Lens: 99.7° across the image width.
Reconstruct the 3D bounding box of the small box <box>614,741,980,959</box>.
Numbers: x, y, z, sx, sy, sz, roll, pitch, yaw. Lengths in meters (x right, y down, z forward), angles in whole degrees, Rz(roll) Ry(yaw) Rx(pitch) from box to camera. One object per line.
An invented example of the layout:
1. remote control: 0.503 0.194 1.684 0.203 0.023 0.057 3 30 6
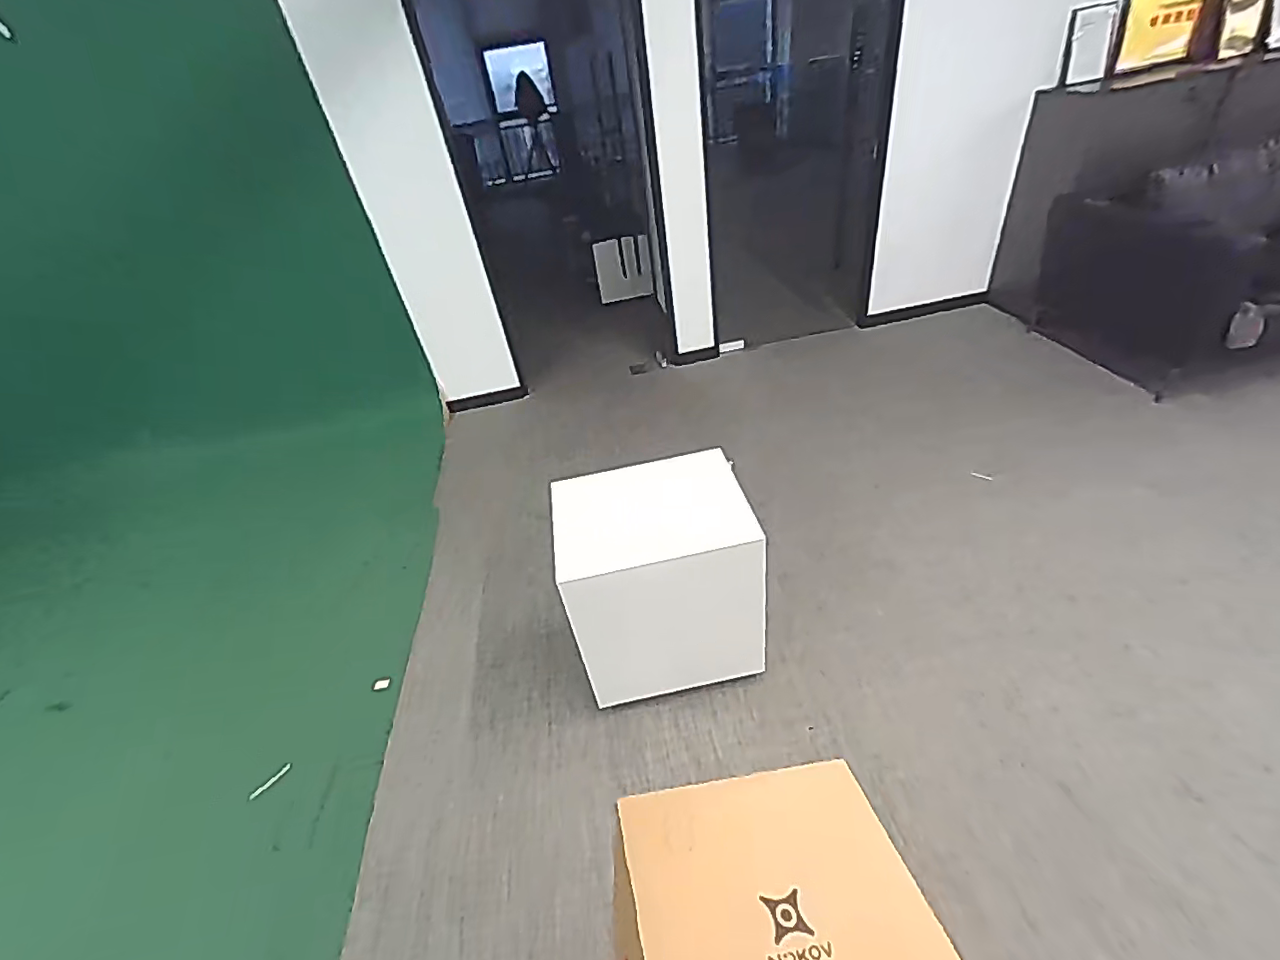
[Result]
1. small box: 0.077 0.298 0.325 0.168 0.176 0.179 -4 27 -11
